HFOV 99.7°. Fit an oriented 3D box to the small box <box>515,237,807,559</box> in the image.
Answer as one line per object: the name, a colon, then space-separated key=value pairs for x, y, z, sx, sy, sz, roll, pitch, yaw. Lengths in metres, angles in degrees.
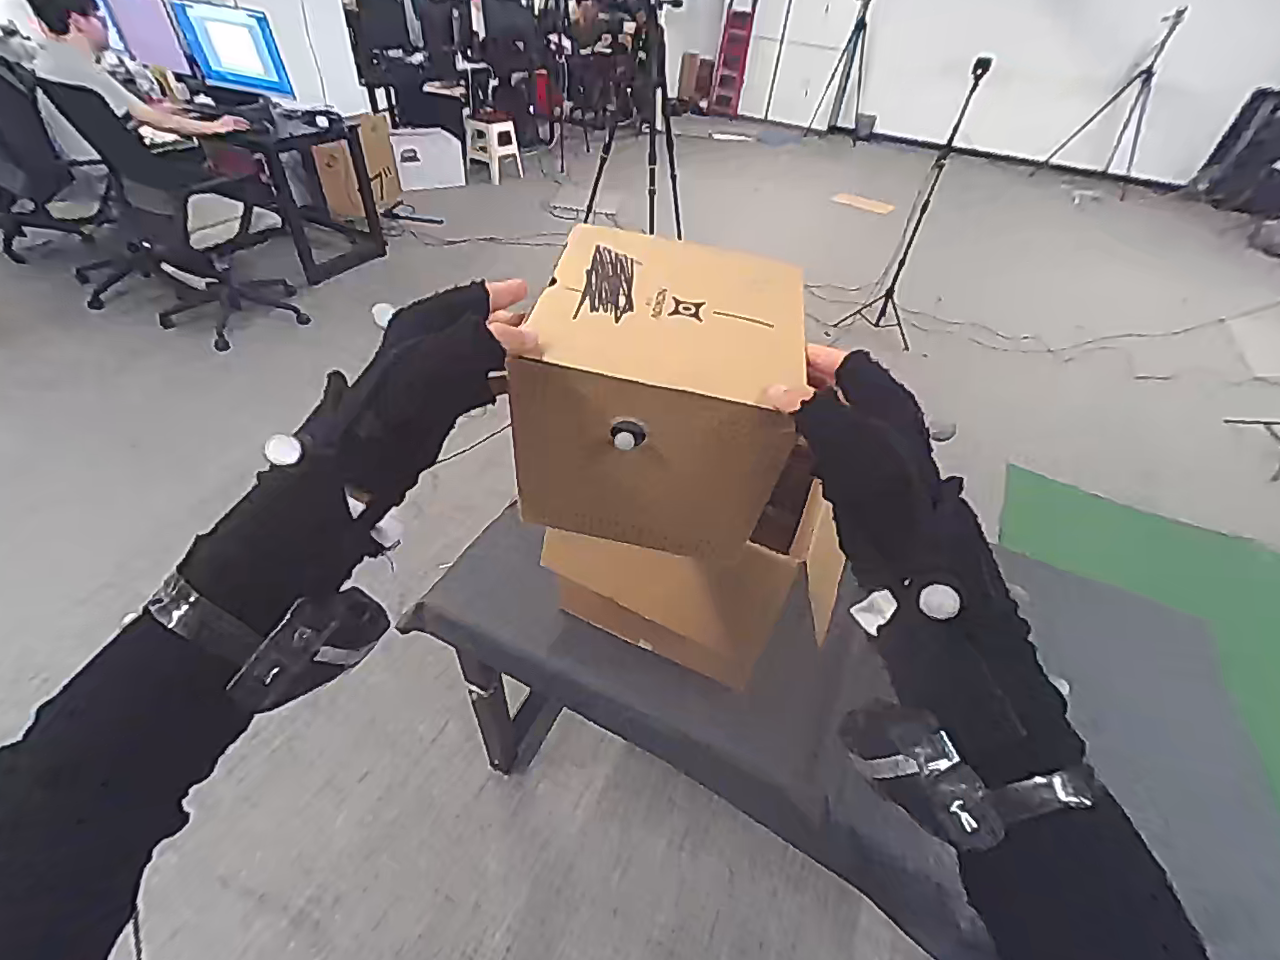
small box: x=0.016 y=-0.058 z=0.423 sx=0.179 sy=0.176 sz=0.168 roll=12 pitch=51 yaw=1
